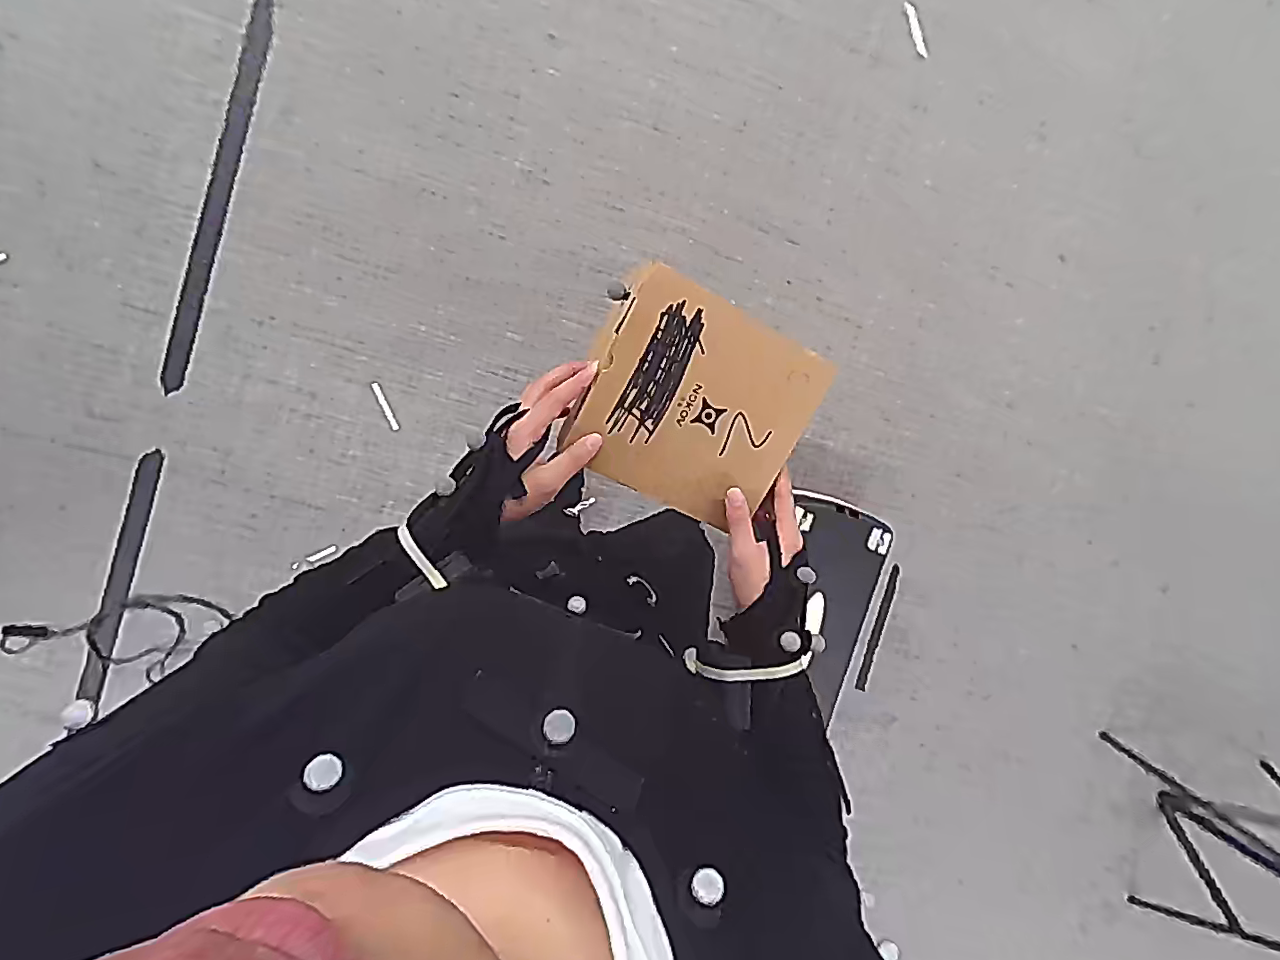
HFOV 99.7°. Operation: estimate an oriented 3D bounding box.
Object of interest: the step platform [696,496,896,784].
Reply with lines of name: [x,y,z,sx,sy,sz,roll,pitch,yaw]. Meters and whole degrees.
step platform: [0.383,0.395,1.354,0.286,0.204,0.684,17,93,-9]
